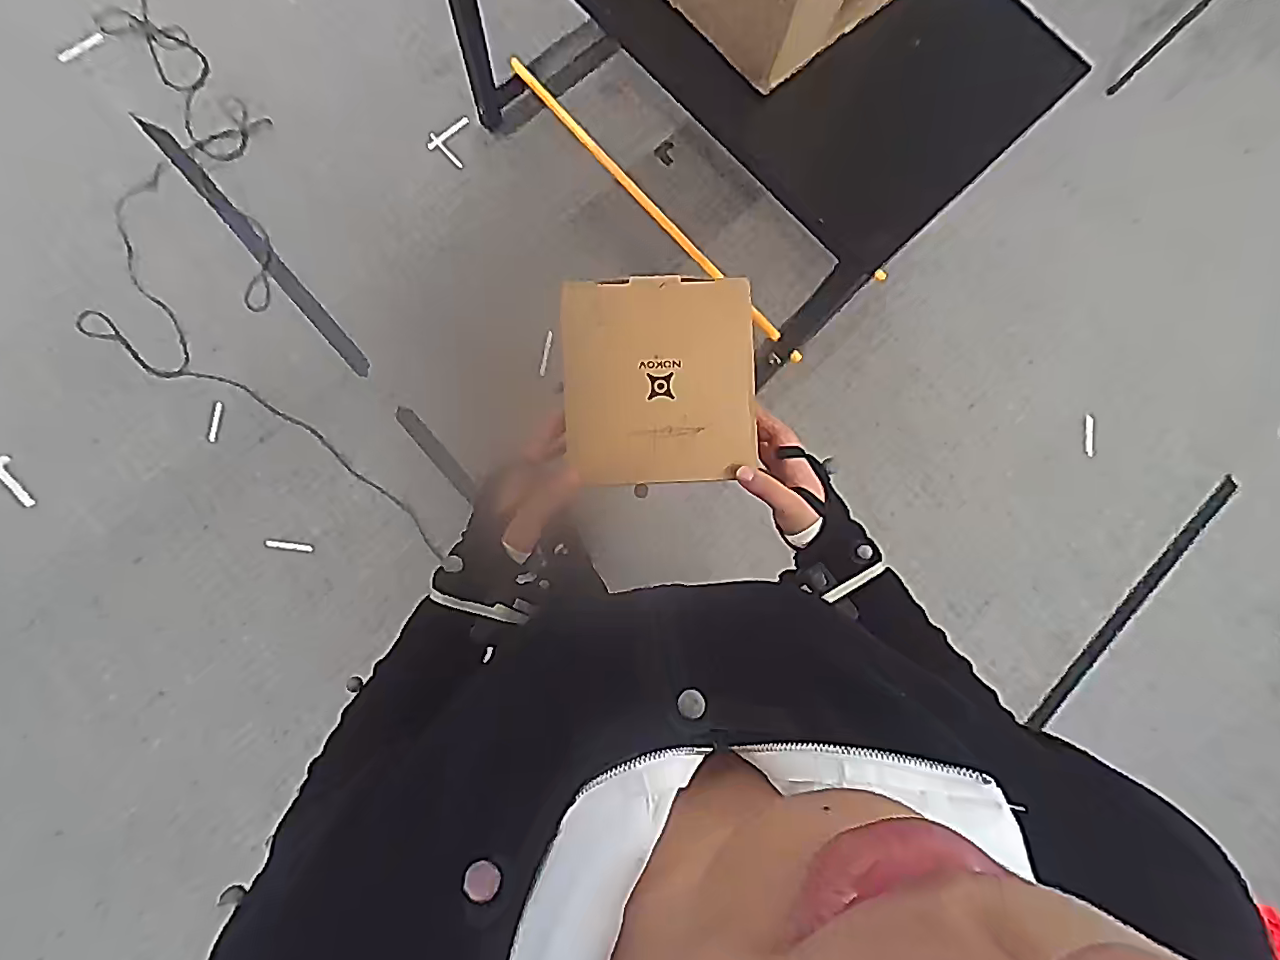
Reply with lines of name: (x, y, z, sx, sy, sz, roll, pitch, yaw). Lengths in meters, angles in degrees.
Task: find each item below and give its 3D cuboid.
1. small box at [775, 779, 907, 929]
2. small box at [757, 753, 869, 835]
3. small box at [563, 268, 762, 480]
small box: (0.428, 0.799, 1.181, 0.168, 0.176, 0.179, -43, 86, -9)
small box: (0.419, 0.820, 1.344, 0.168, 0.176, 0.179, 43, 81, 3)
small box: (0.014, -0.090, 0.533, 0.168, 0.176, 0.179, -3, 91, -3)
